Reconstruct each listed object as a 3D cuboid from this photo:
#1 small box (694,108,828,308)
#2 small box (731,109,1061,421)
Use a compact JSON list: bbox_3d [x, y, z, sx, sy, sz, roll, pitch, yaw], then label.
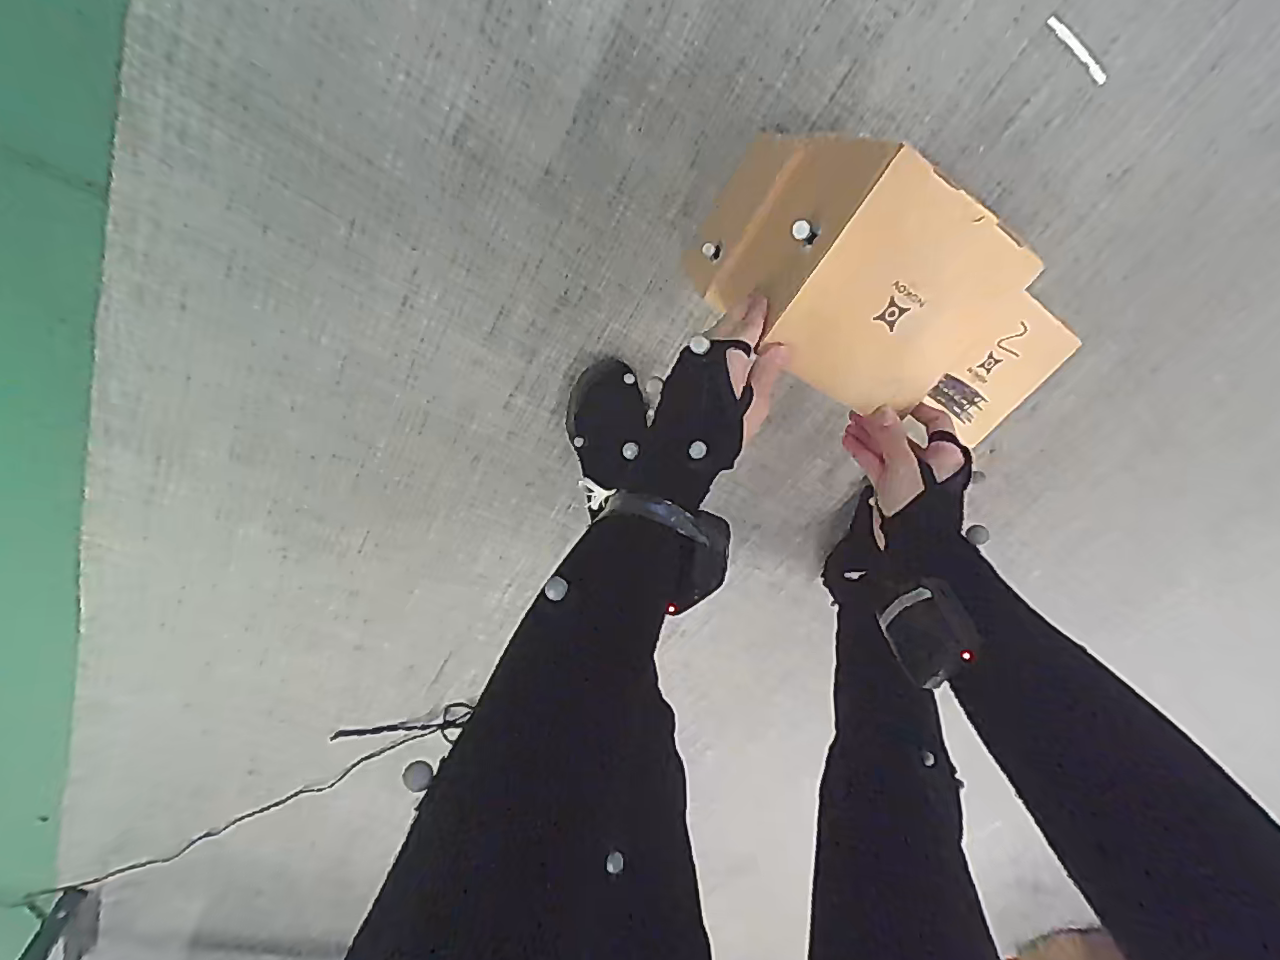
[{"bbox_3d":[0.175,-0.281,0.610,0.168,0.176,0.179,25,120,-20],"label":"small box"},{"bbox_3d":[0.198,-0.190,0.479,0.168,0.176,0.179,25,119,-20],"label":"small box"}]
